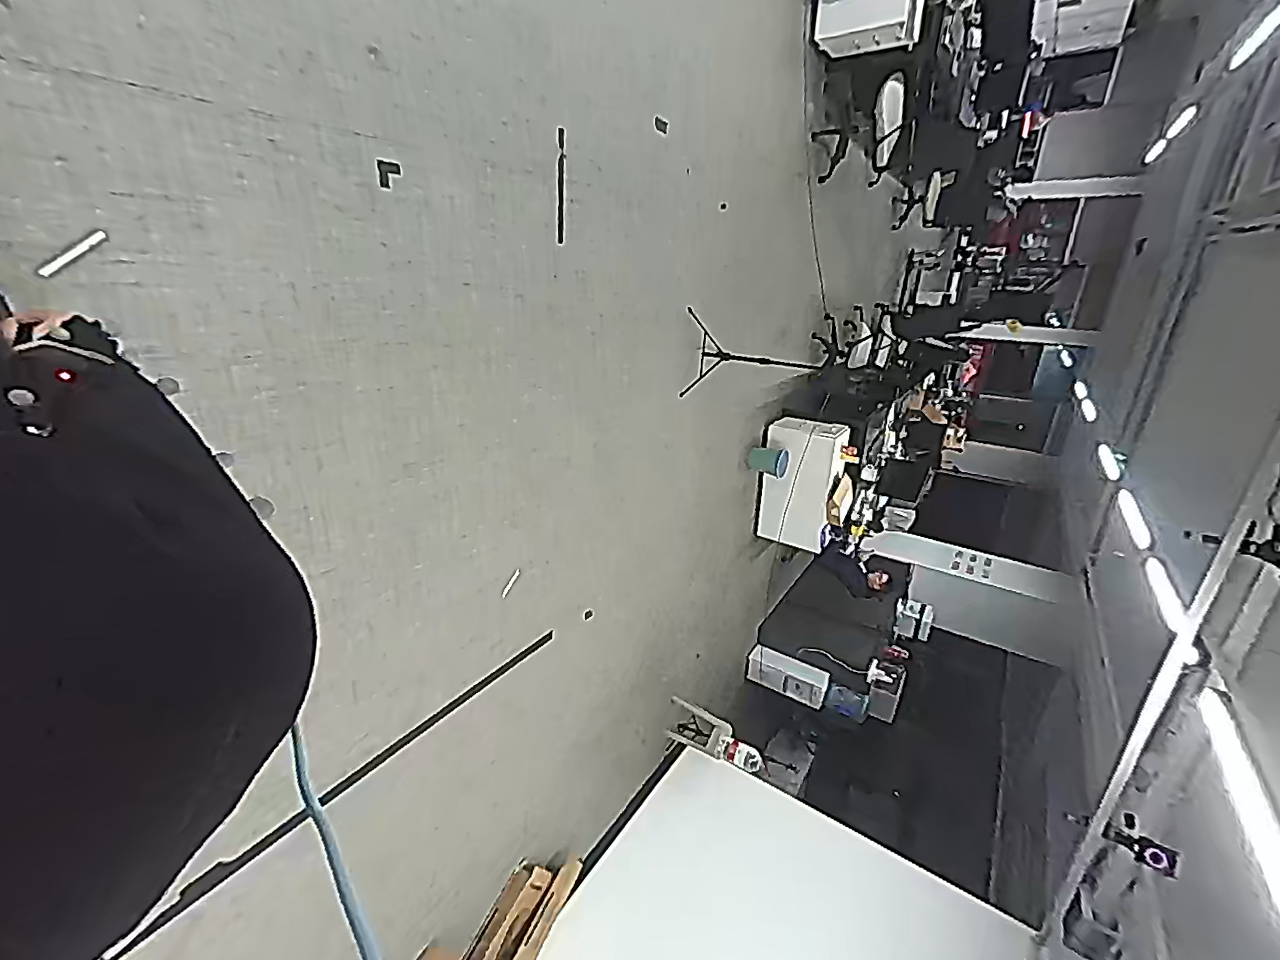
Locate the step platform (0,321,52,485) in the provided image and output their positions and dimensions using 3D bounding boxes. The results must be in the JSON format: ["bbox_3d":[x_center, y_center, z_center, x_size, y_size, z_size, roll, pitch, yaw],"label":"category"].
[{"bbox_3d":[-1.319,-0.090,0.748,0.684,0.204,0.286,-18,116,-52],"label":"step platform"}]
